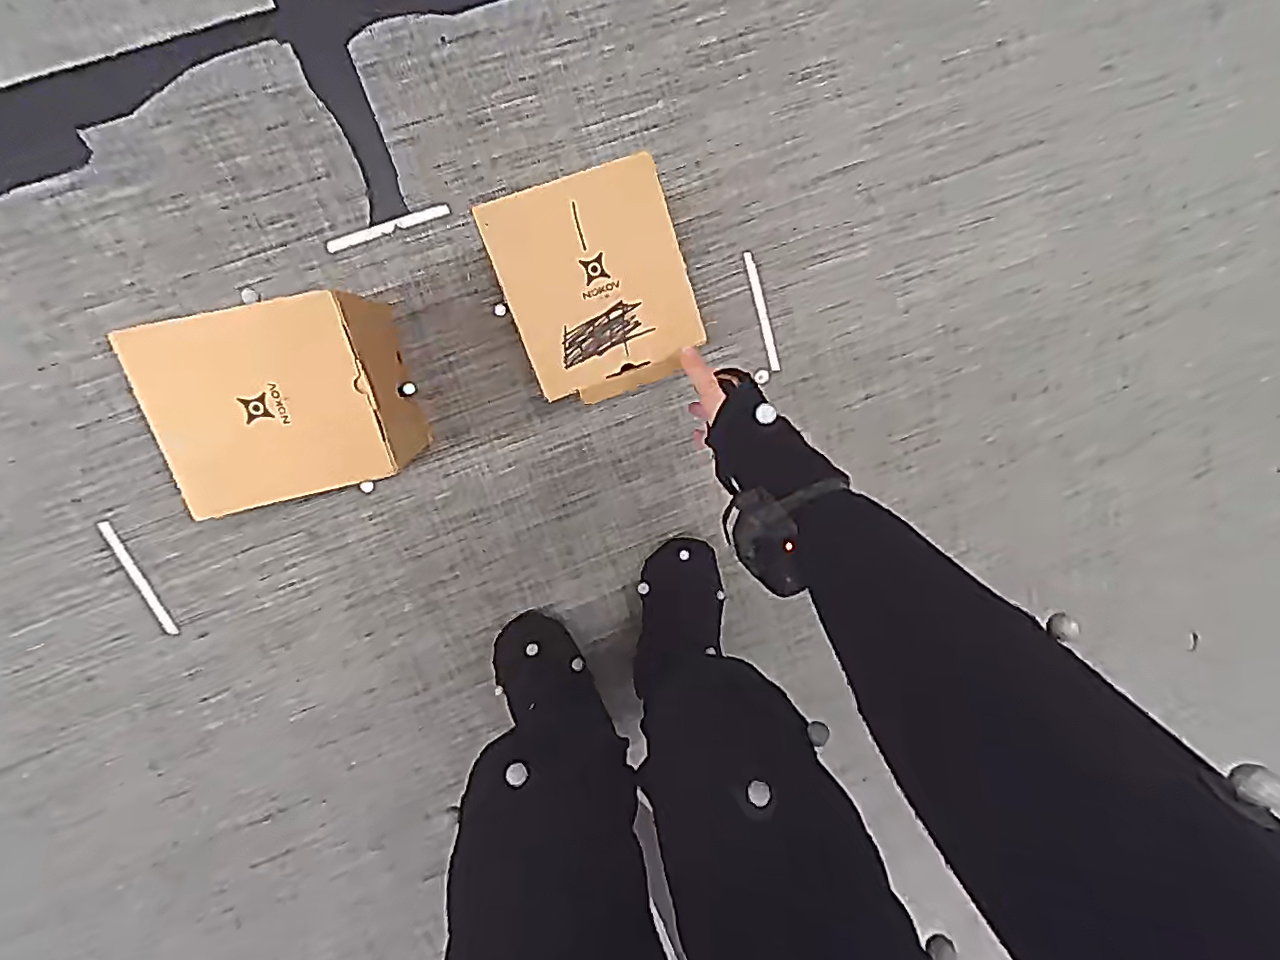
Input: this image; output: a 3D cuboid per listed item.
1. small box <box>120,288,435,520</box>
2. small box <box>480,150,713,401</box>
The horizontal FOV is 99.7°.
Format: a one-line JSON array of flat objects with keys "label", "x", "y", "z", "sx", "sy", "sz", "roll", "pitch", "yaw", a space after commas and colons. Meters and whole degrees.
[{"label": "small box", "x": -0.324, "y": -0.079, "z": 0.530, "sx": 0.179, "sy": 0.176, "sz": 0.168, "roll": -15, "pitch": 106, "yaw": -7}, {"label": "small box", "x": -0.046, "y": -0.196, "z": 0.555, "sx": 0.168, "sy": 0.176, "sz": 0.179, "roll": -21, "pitch": 106, "yaw": -6}]
